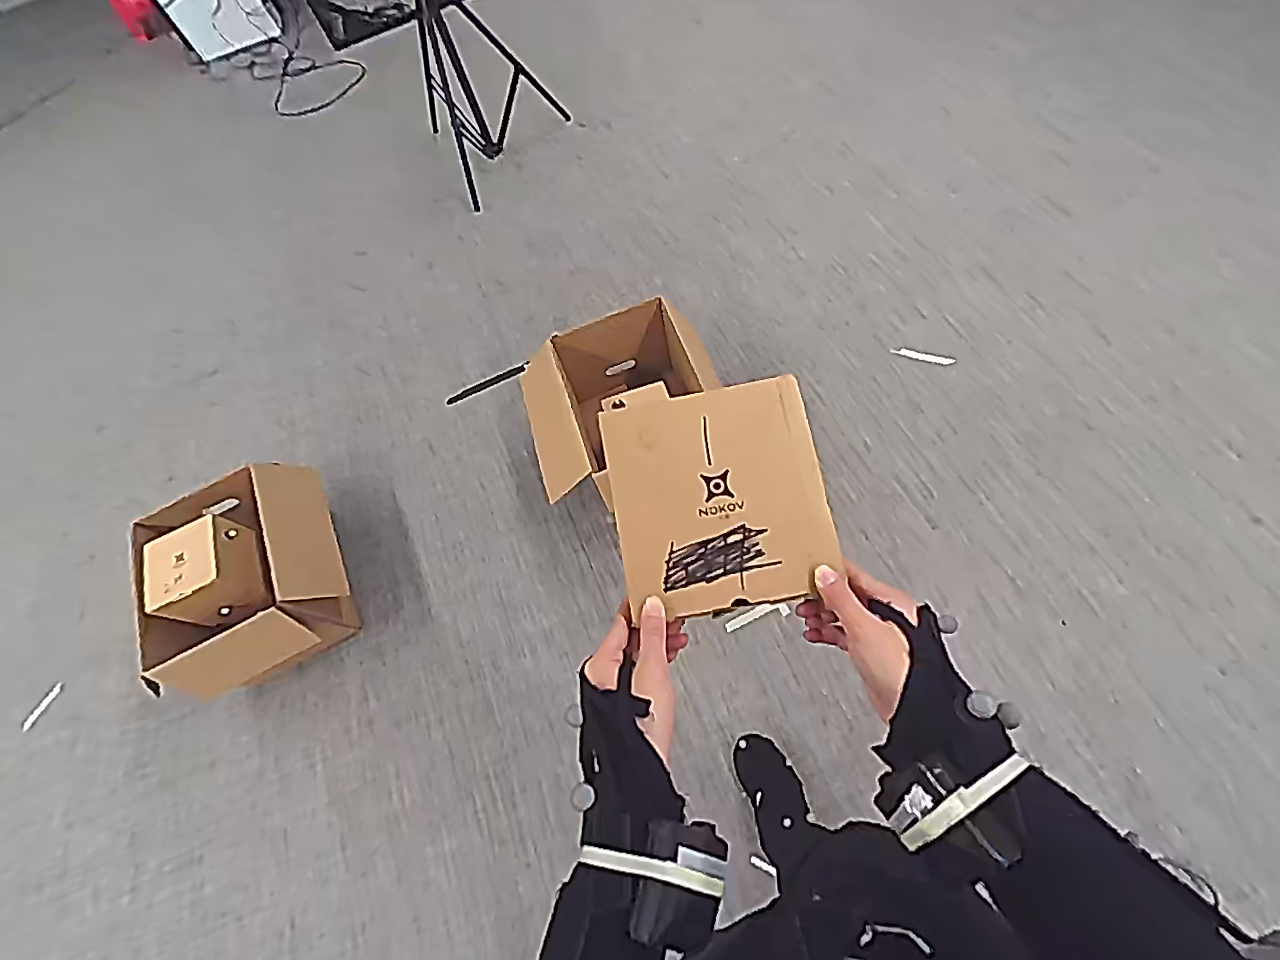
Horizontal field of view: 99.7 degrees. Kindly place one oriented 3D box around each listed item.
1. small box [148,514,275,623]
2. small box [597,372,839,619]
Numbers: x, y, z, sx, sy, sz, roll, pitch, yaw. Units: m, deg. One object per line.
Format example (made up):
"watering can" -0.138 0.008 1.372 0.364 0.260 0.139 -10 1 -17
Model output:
"small box" -0.997 0.213 1.268 0.168 0.176 0.179 -26 64 -2
"small box" 0.064 0.024 0.504 0.168 0.176 0.179 -11 78 2
